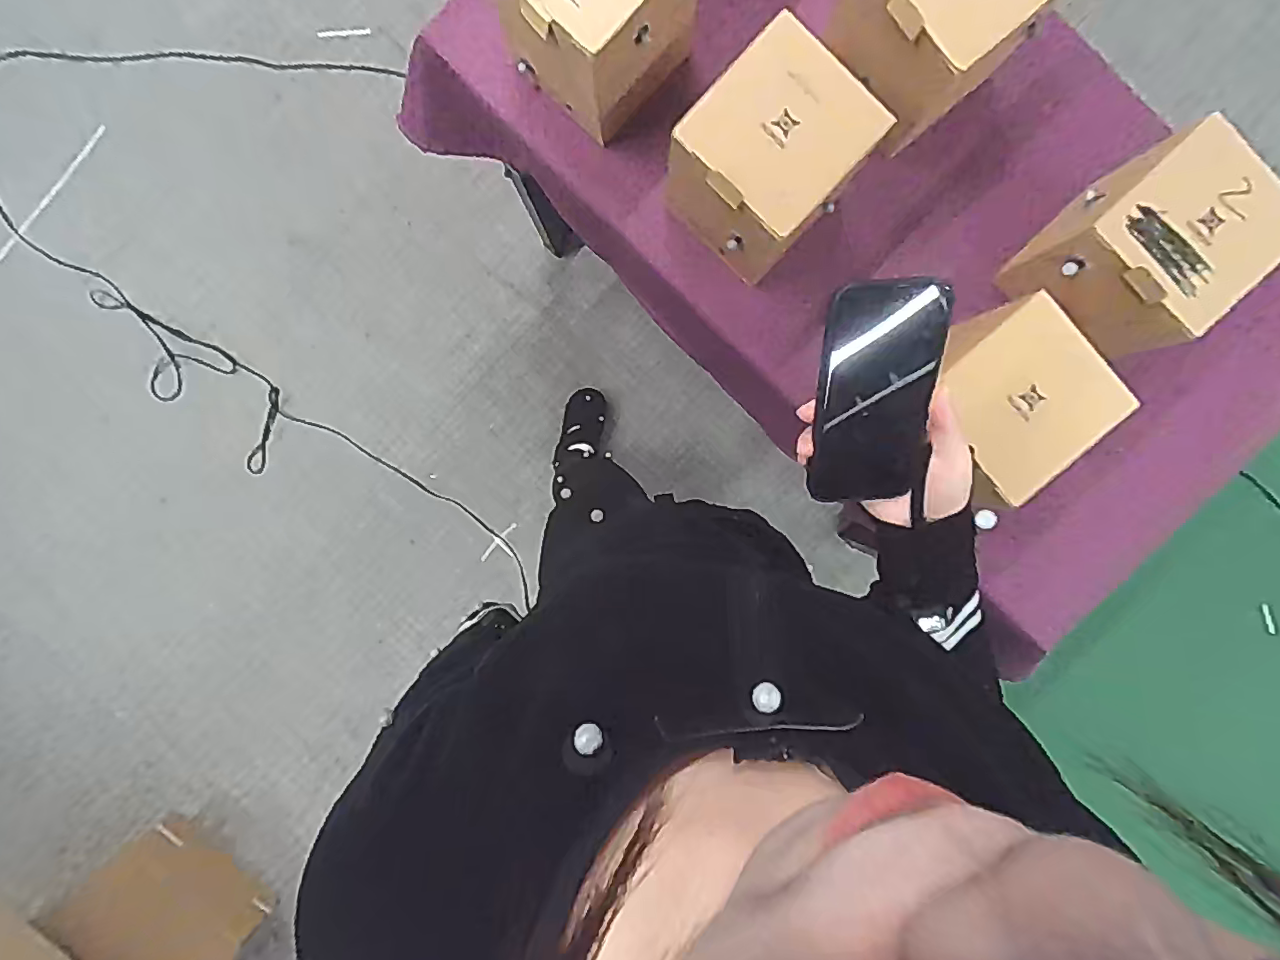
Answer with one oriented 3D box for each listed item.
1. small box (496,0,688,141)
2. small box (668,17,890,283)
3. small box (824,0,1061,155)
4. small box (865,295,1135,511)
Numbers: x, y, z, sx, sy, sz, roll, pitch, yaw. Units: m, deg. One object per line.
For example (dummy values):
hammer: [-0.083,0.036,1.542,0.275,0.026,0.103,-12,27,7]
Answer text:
small box: [-0.052,-0.558,0.641,0.168,0.176,0.179,43,92,-2]
small box: [0.149,-0.371,0.649,0.168,0.176,0.179,44,92,-2]
small box: [0.344,-0.538,0.635,0.179,0.176,0.168,-39,91,3]
small box: [0.415,-0.087,0.658,0.179,0.176,0.168,-41,91,3]
